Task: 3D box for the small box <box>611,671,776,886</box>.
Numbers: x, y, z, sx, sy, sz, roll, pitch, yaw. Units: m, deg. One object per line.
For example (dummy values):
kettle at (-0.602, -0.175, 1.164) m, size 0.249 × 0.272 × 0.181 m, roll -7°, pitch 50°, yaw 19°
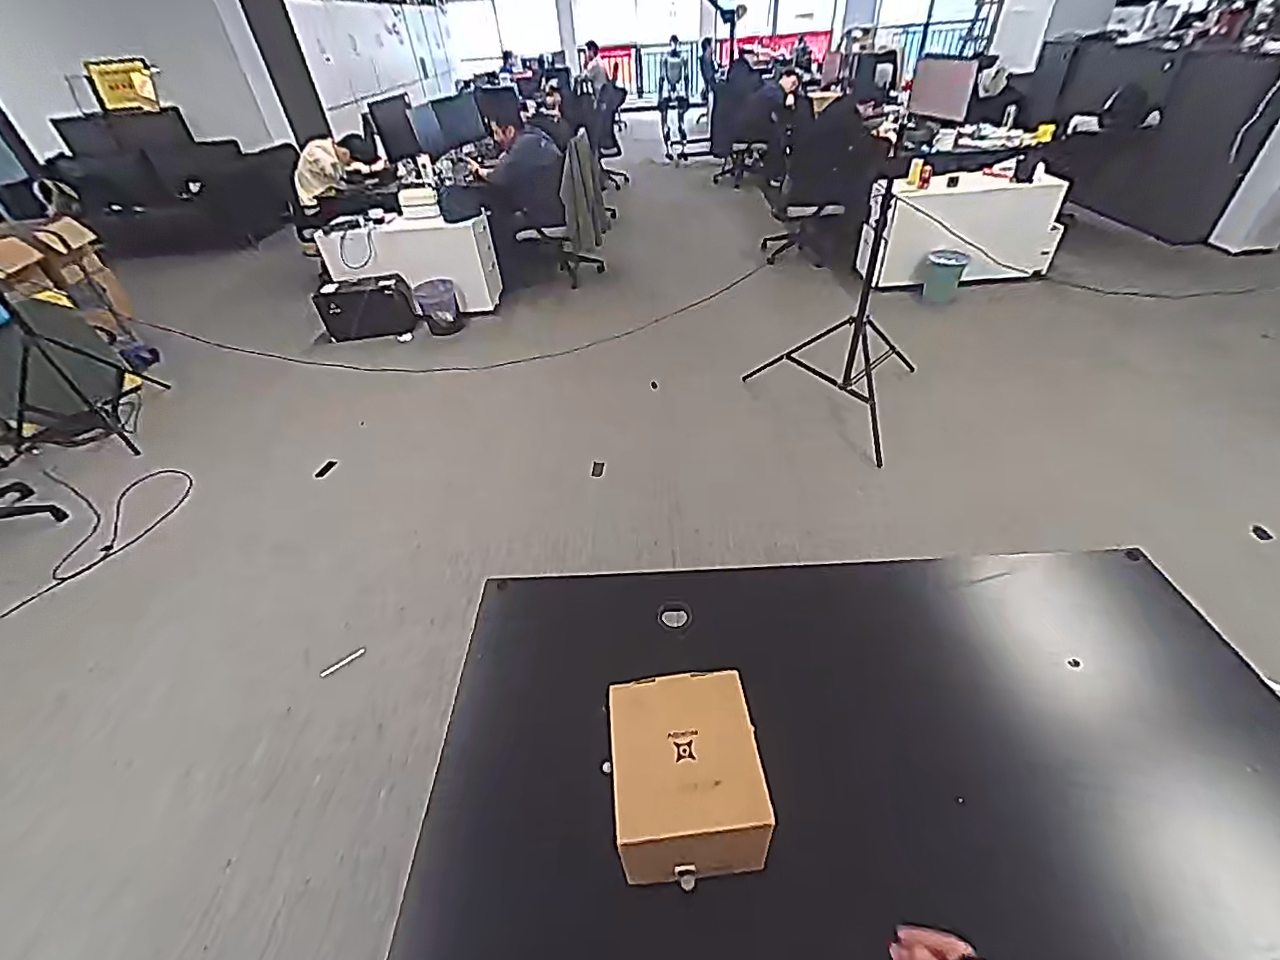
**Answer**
small box at (0.057, 0.366, 0.668) m, size 0.168 × 0.176 × 0.179 m, roll -8°, pitch 42°, yaw -2°
